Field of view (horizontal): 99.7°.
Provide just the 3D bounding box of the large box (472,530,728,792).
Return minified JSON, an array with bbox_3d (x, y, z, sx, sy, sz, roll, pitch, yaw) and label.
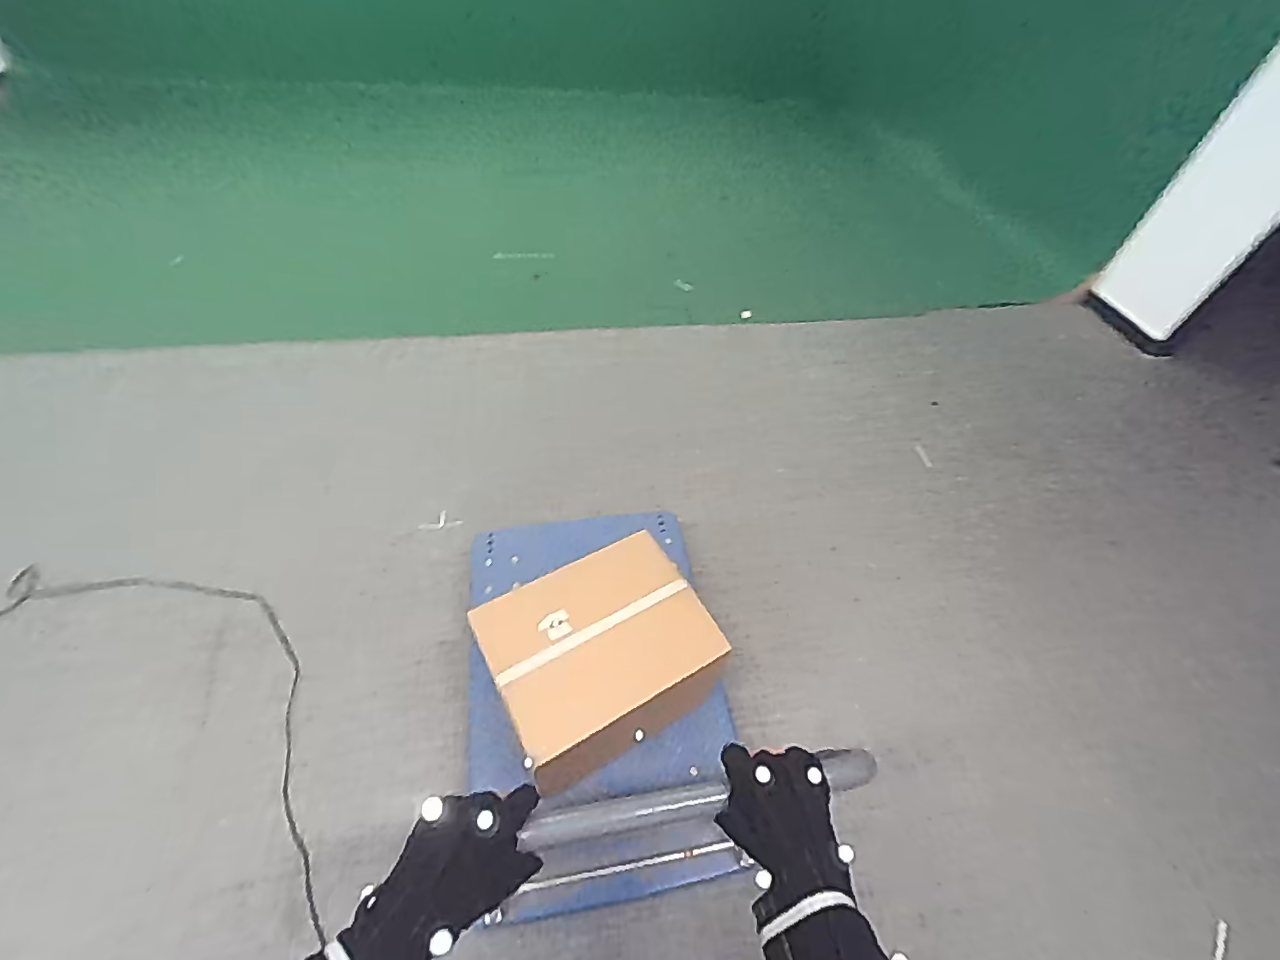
[{"bbox_3d":[-0.084,0.376,1.137,0.408,0.320,0.320,-23,56,-21],"label":"large box"}]
